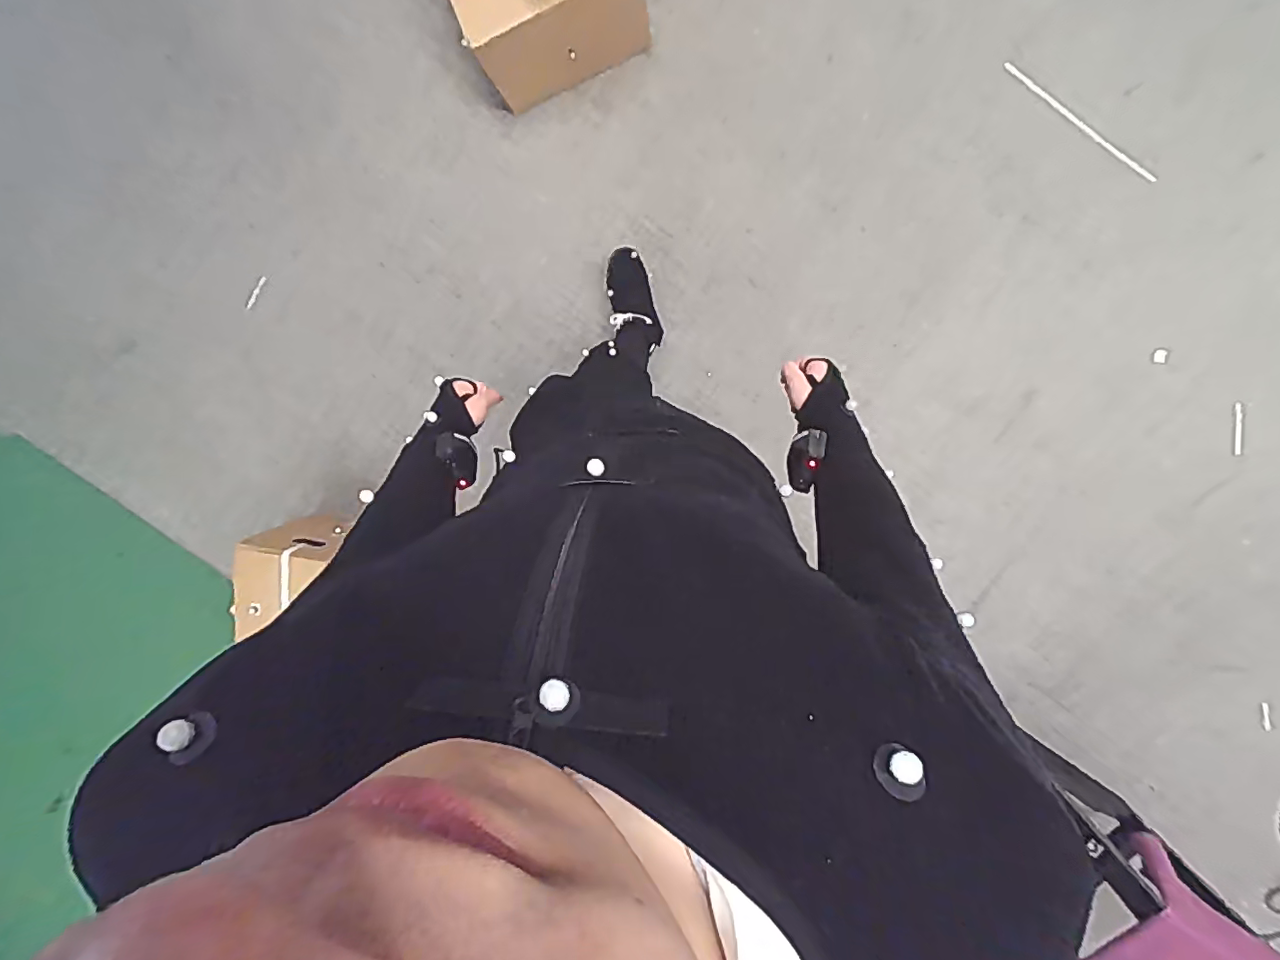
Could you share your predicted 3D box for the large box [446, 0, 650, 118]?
[{"bbox_3d":[-0.225,-1.147,1.254,0.408,0.320,0.320,-21,98,10],"label":"large box"}]
